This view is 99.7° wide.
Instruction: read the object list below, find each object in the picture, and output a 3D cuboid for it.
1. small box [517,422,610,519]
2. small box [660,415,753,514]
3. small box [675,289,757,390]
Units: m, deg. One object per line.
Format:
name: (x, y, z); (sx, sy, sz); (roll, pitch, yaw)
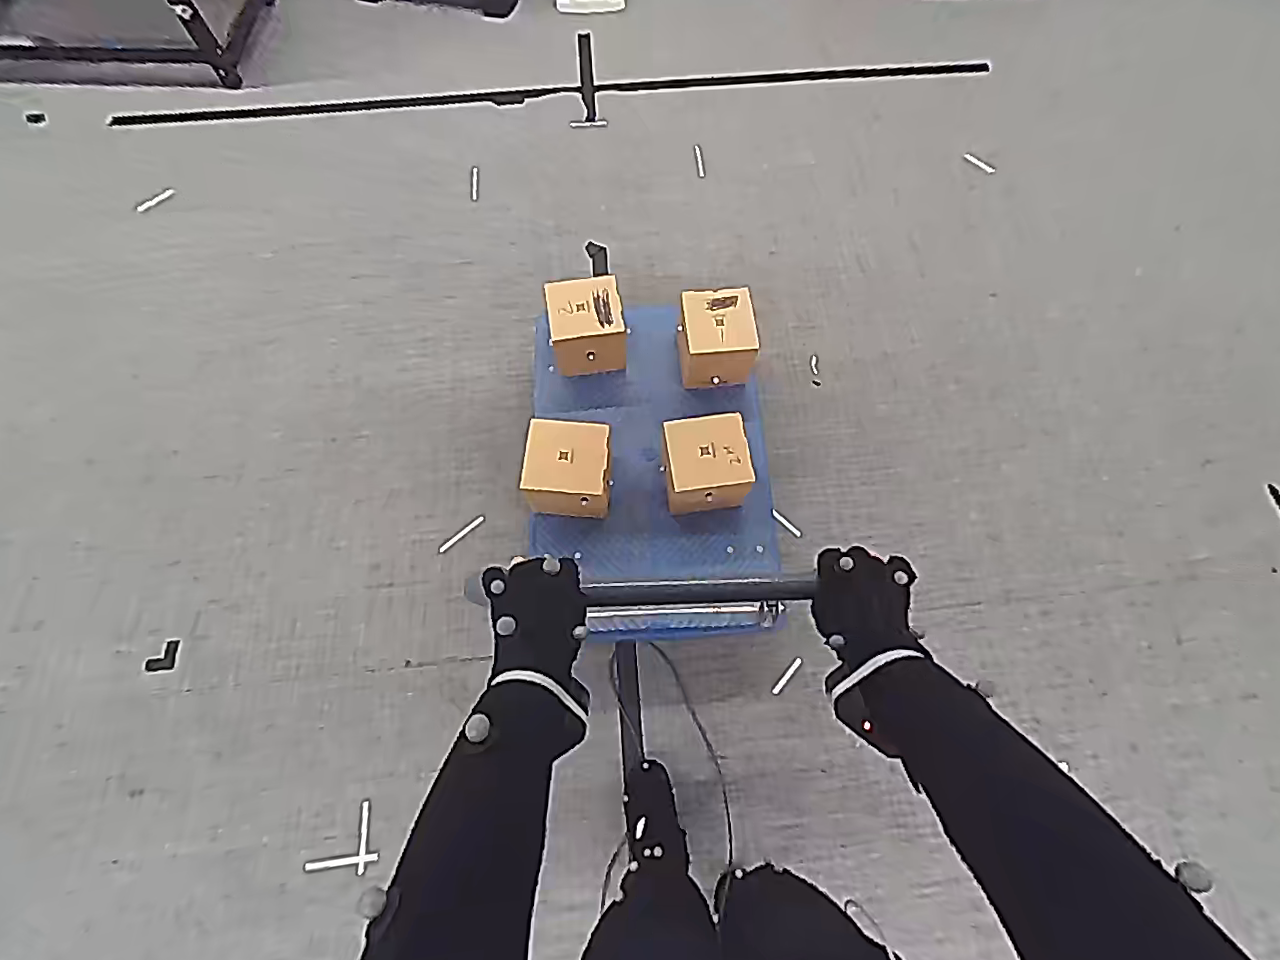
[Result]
small box: (-0.164, -0.016, 1.215); (0.179, 0.176, 0.168); (4, 69, -1)
small box: (0.140, -0.028, 1.223); (0.179, 0.176, 0.168); (-7, 70, -3)
small box: (0.180, -0.344, 1.340); (0.168, 0.176, 0.179); (-5, 71, -2)
